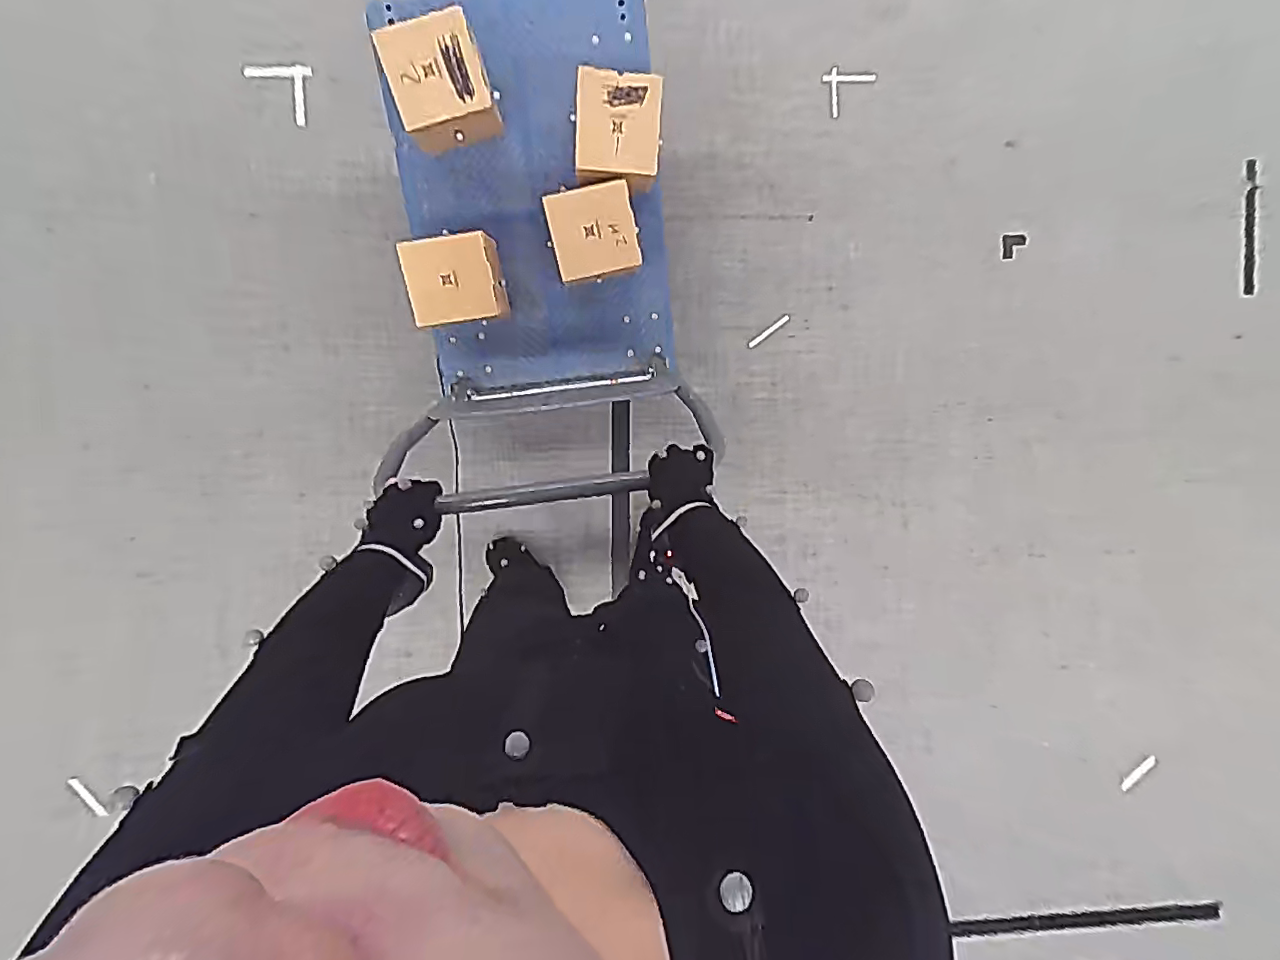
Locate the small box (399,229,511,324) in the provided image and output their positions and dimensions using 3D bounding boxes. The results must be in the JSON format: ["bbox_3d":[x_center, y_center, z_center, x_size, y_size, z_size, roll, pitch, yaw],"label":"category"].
[{"bbox_3d":[-0.395,-0.438,1.186,0.179,0.176,0.168,-10,107,-4],"label":"small box"}]

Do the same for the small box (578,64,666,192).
[{"bbox_3d":[-0.044,-0.723,1.128,0.168,0.176,0.179,2,107,-5],"label":"small box"}]

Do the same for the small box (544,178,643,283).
[{"bbox_3d":[-0.098,-0.534,1.180,0.179,0.176,0.168,-13,108,-1],"label":"small box"}]
